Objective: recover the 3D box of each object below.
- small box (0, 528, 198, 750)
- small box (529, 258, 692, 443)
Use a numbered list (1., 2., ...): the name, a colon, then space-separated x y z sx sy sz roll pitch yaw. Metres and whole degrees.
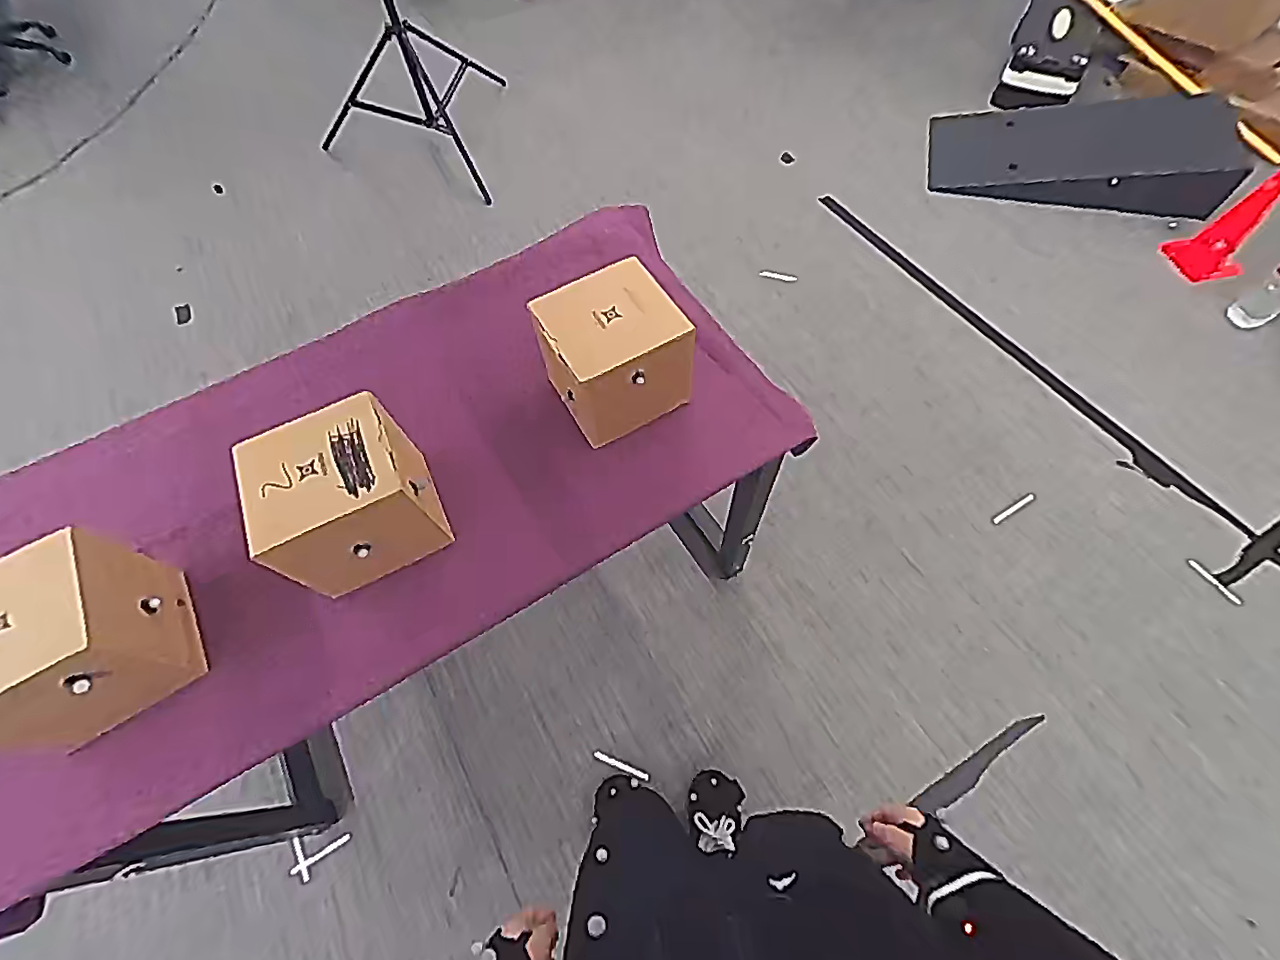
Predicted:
1. small box: -0.670 0.191 0.637 0.179 0.176 0.168 -32 64 -13
2. small box: -0.038 -0.184 0.800 0.179 0.176 0.168 -28 65 -12
